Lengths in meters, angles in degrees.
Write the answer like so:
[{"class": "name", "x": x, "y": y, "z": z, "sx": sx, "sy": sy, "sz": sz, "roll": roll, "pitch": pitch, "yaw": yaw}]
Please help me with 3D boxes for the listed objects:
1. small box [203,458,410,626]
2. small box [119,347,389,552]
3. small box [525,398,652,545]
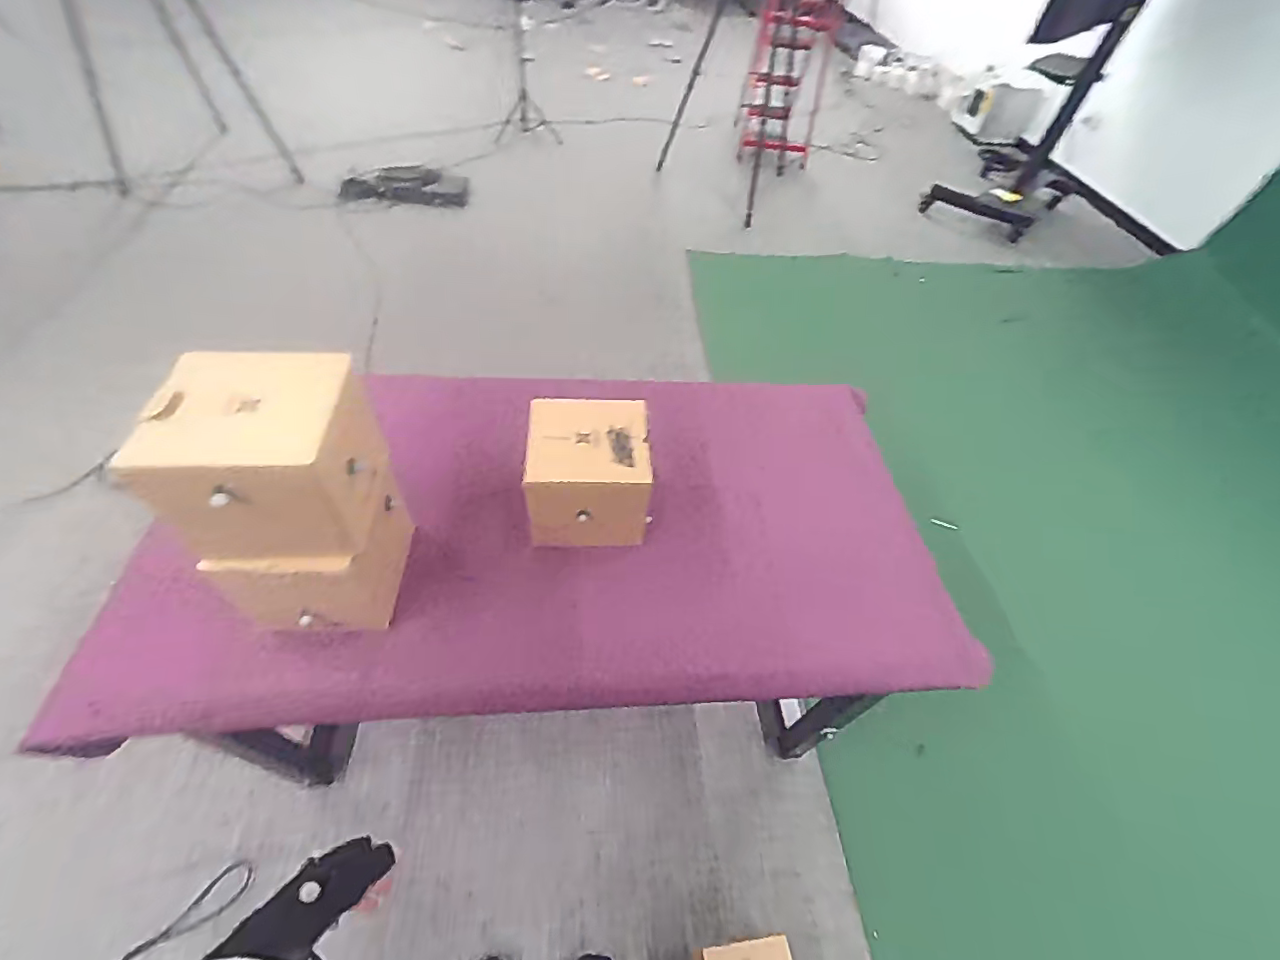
[{"class": "small box", "x": -0.426, "y": 0.080, "z": 0.733, "sx": 0.168, "sy": 0.176, "sz": 0.179, "roll": 3, "pitch": 52, "yaw": -6}, {"class": "small box", "x": -0.405, "y": -0.029, "z": 0.614, "sx": 0.179, "sy": 0.176, "sz": 0.168, "roll": 0, "pitch": 52, "yaw": -8}, {"class": "small box", "x": -0.081, "y": -0.008, "z": 0.852, "sx": 0.179, "sy": 0.176, "sz": 0.168, "roll": 1, "pitch": 52, "yaw": -6}]
